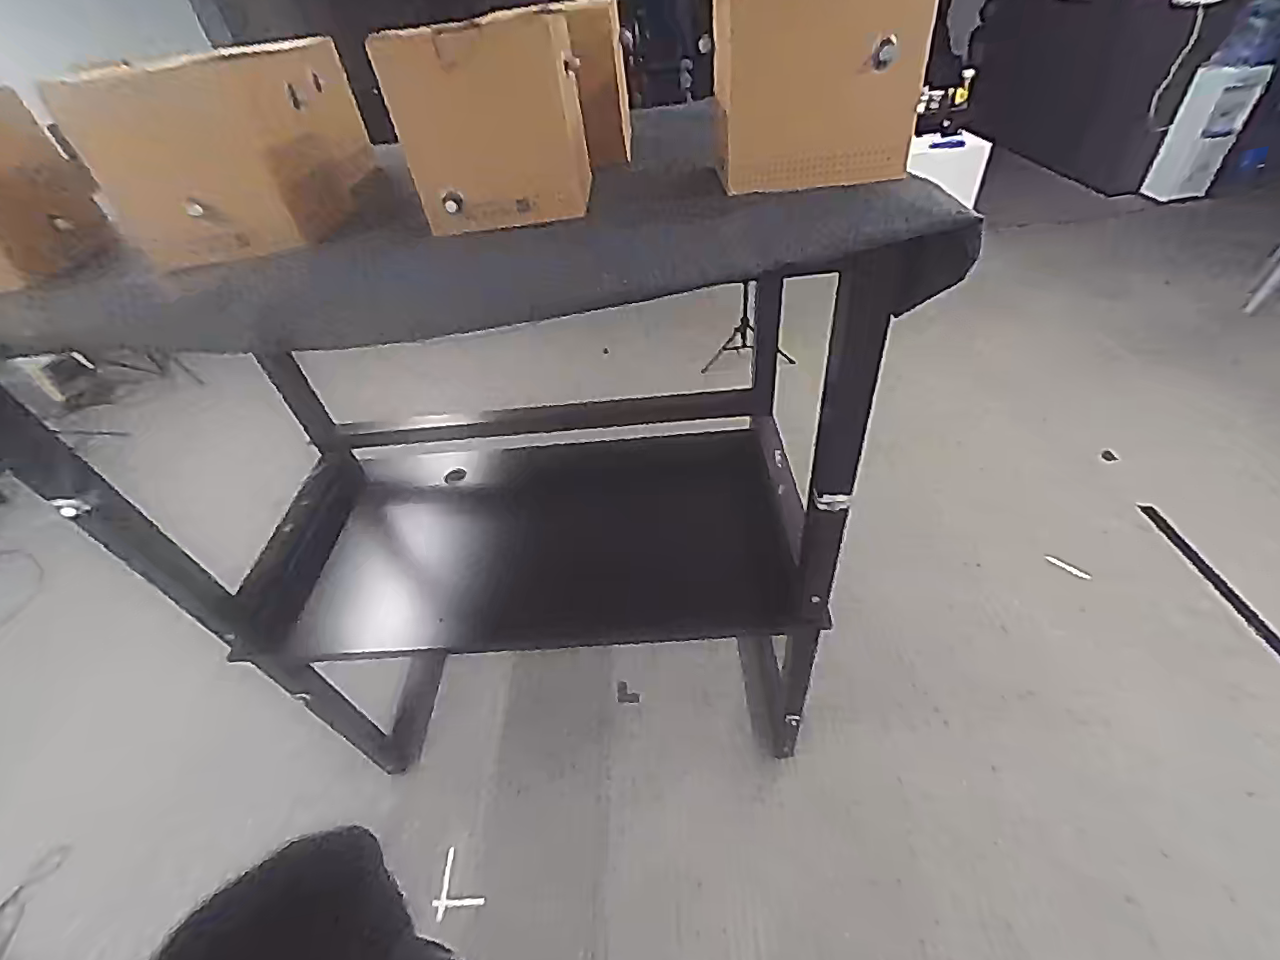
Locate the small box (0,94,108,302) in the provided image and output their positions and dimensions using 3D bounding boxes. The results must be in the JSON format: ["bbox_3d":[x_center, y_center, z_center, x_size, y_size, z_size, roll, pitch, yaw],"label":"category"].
[{"bbox_3d":[-0.764,-0.305,0.598,0.168,0.176,0.179,-9,43,-2],"label":"small box"}]

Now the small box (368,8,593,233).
[{"bbox_3d":[-0.146,-0.373,0.573,0.168,0.176,0.179,-6,41,3],"label":"small box"}]

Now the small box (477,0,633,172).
[{"bbox_3d":[-0.102,-0.530,0.735,0.168,0.176,0.179,-5,44,4],"label":"small box"}]
